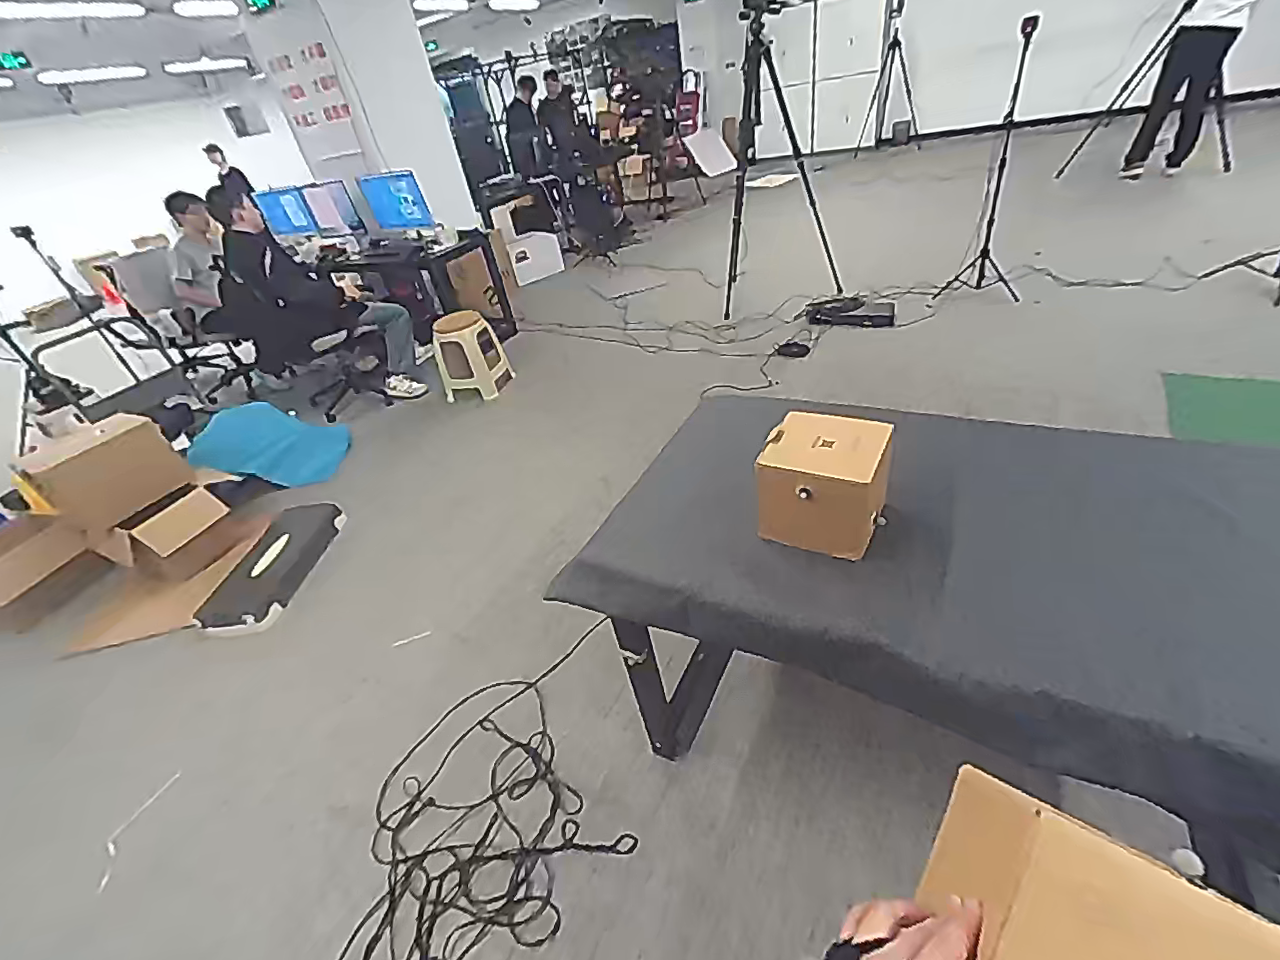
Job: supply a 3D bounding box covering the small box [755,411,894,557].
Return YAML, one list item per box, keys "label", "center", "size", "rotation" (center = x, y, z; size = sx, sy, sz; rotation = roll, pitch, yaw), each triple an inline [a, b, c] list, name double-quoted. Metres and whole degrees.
- label: "small box"
  center: [0.307, 0.005, 0.908]
  size: [0.179, 0.176, 0.168]
  rotation: [14, 44, 29]
